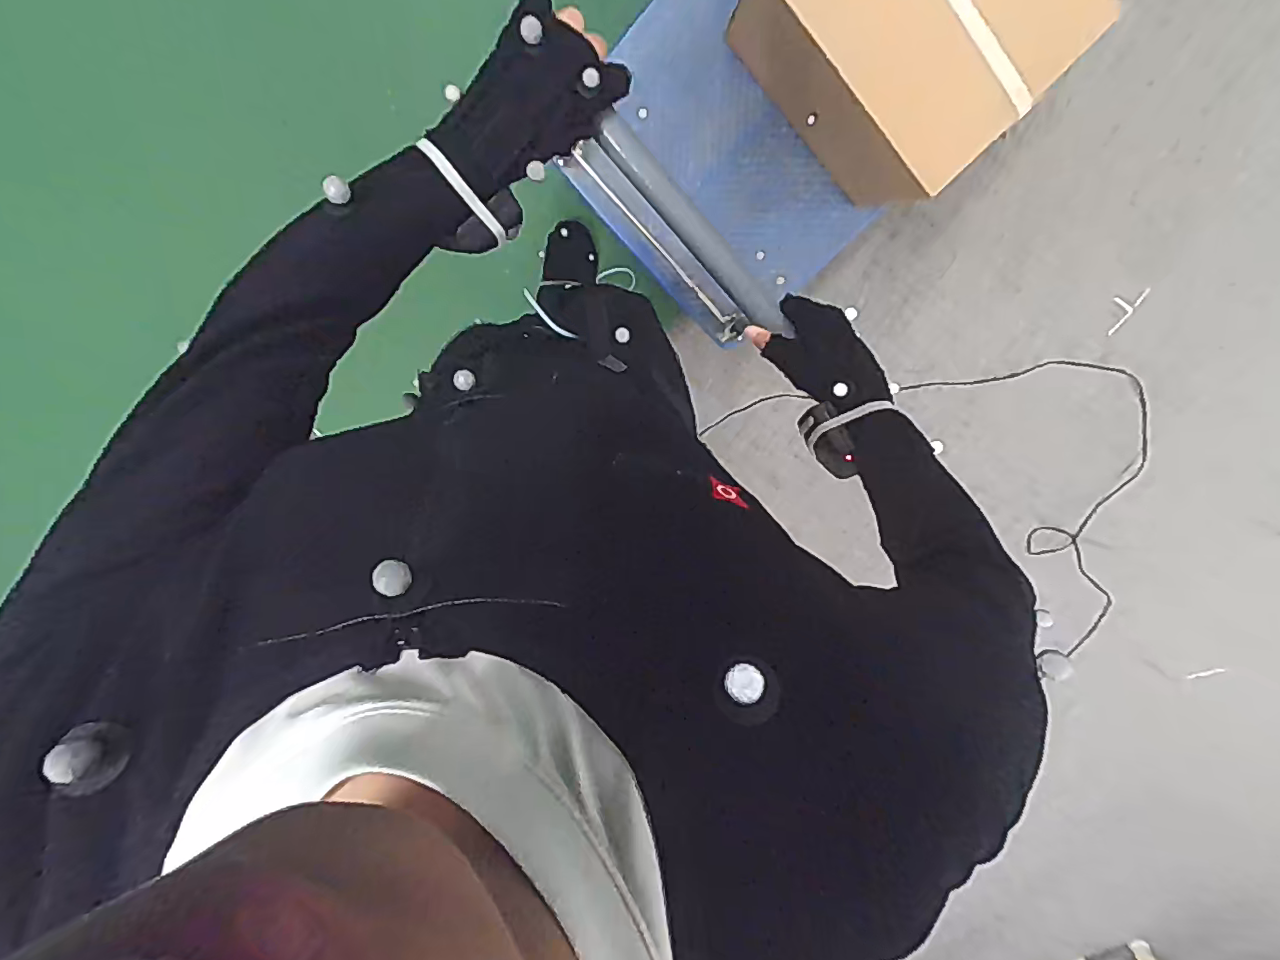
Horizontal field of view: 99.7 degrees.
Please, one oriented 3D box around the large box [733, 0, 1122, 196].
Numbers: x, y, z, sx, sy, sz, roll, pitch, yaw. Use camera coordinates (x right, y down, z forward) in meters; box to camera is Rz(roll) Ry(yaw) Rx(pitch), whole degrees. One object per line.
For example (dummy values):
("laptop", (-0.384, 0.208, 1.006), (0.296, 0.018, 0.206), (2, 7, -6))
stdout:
("large box", (0.410, -0.729, 0.860), (0.408, 0.320, 0.320), (41, 108, -16))
